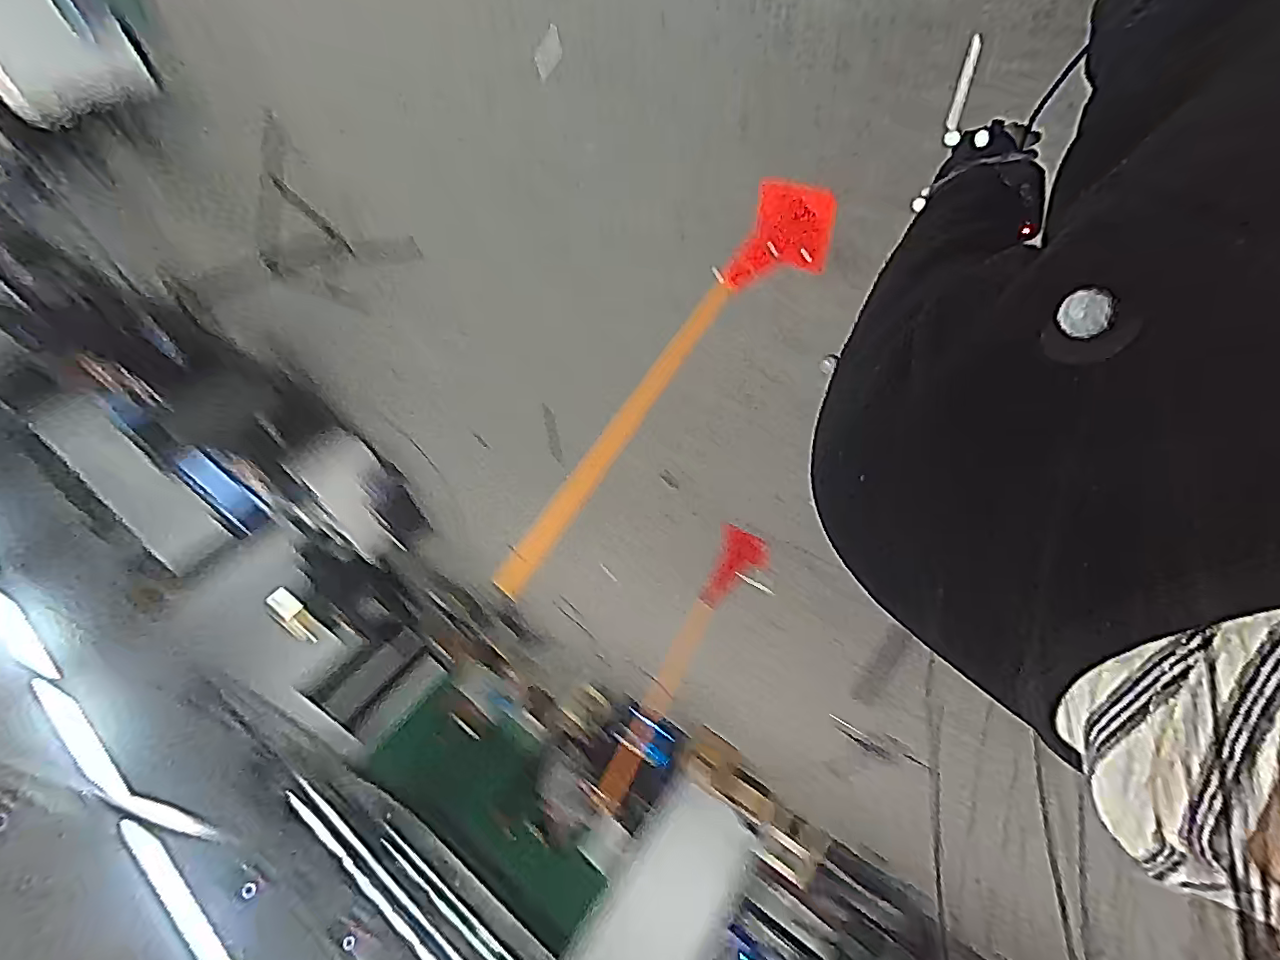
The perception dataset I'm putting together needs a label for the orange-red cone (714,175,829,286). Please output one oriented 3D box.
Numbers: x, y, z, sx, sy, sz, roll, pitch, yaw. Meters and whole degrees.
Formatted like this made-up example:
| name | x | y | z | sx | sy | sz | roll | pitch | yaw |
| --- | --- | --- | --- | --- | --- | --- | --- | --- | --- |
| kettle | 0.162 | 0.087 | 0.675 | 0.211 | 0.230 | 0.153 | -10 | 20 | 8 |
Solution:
| name | x | y | z | sx | sy | sz | roll | pitch | yaw |
| --- | --- | --- | --- | --- | --- | --- | --- | --- | --- |
| orange-red cone | 0.280 | -0.563 | 1.306 | 0.198 | 0.360 | 0.199 | 27 | 144 | 22 |
